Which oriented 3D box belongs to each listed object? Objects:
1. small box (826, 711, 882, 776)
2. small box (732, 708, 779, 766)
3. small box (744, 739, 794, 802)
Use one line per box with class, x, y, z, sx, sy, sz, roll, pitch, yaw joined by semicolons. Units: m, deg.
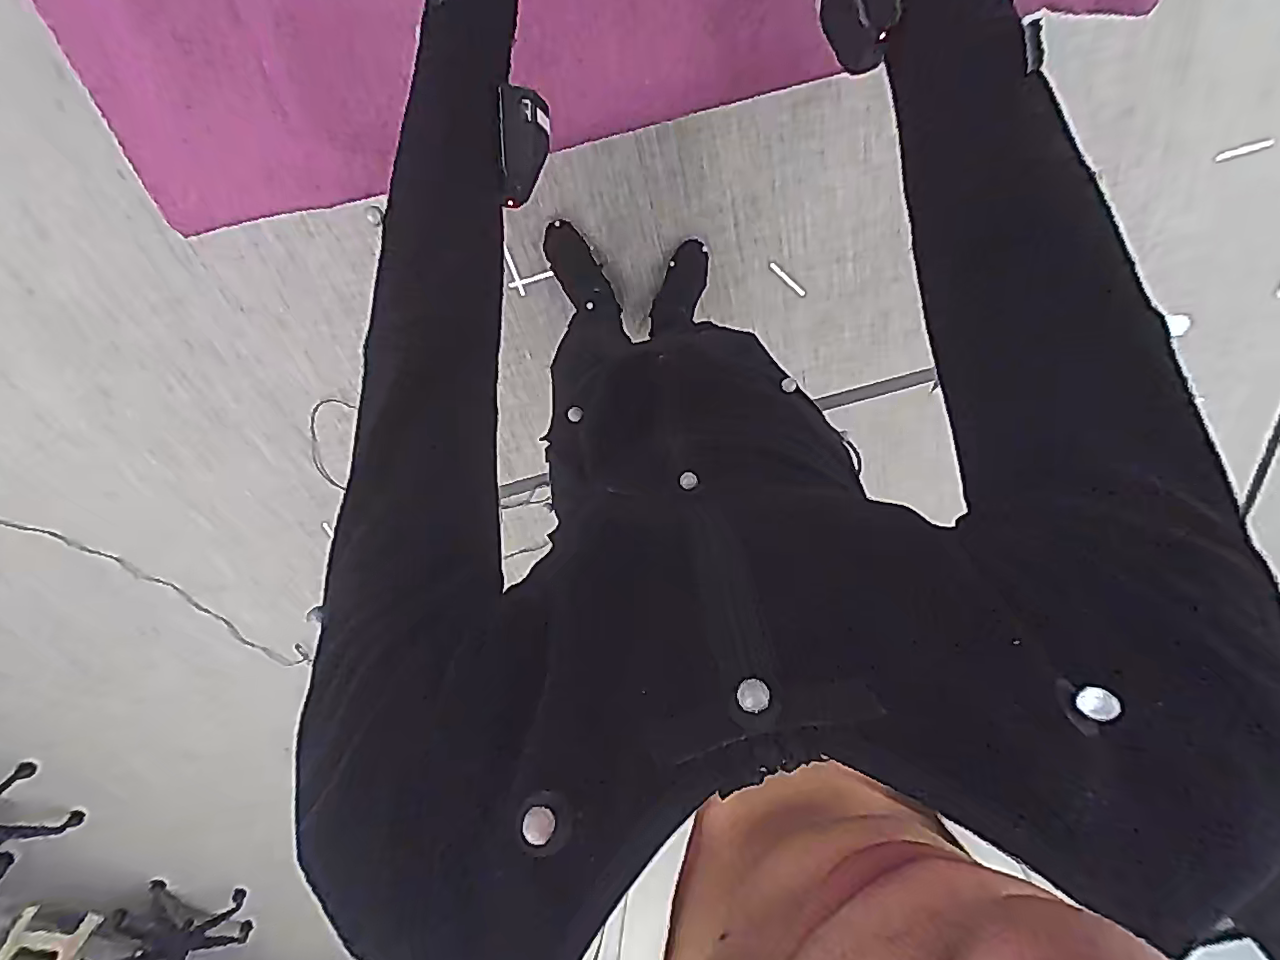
small box;0.926;1.139;2.344;0.168;0.176;0.179;-20;121;3
small box;0.541;1.188;2.511;0.179;0.176;0.168;-15;122;2
small box;0.561;1.274;2.372;0.179;0.176;0.168;-14;123;2
